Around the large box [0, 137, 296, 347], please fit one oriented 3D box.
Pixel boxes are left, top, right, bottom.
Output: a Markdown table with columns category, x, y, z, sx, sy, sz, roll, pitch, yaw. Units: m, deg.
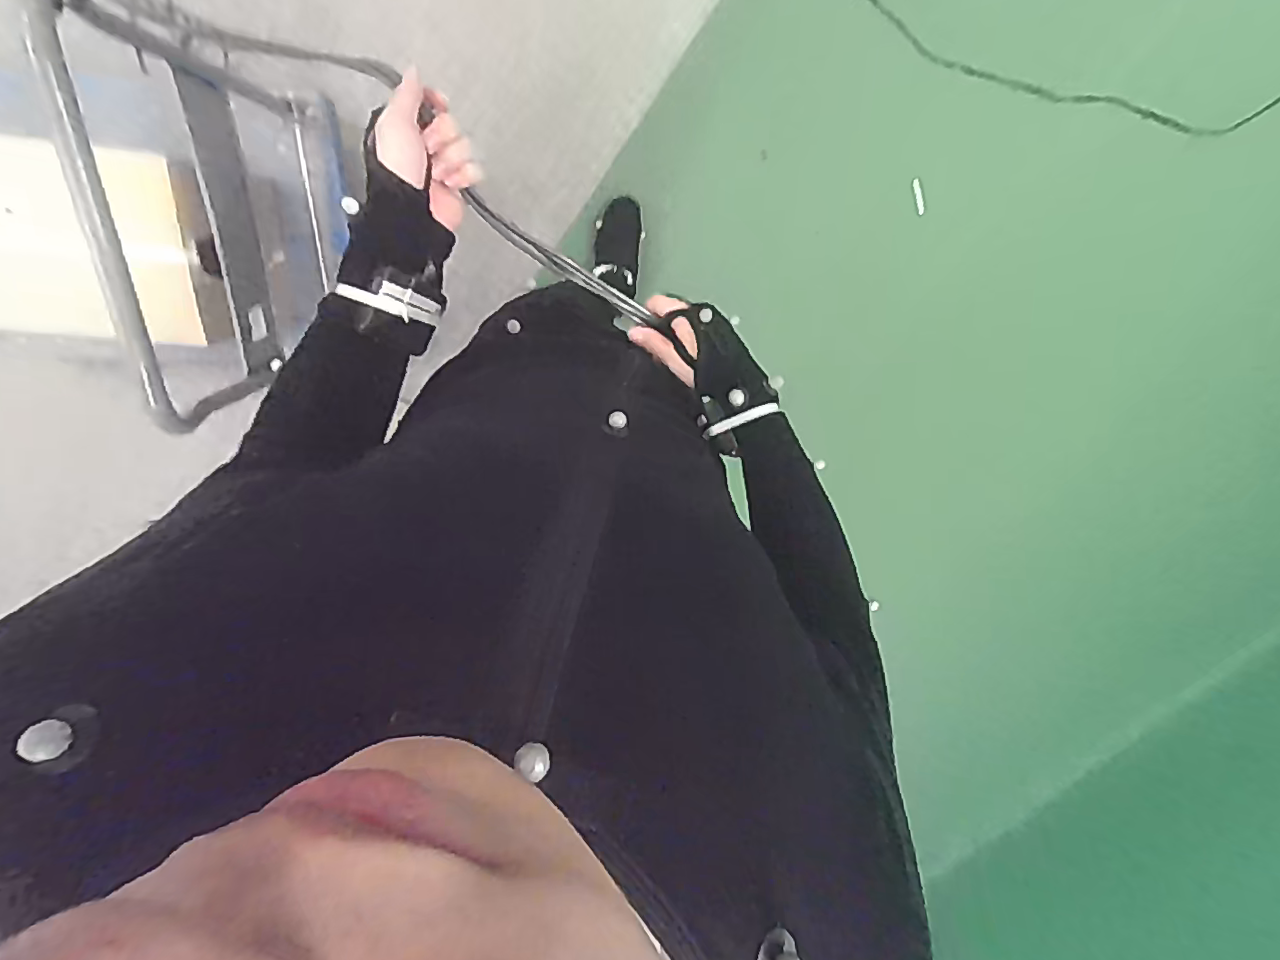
| category | x | y | z | sx | sy | sz | roll | pitch | yaw |
| --- | --- | --- | --- | --- | --- | --- | --- | --- | --- |
| large box | -0.974 | -0.456 | 1.048 | 0.408 | 0.320 | 0.320 | 4 | 113 | -6 |
